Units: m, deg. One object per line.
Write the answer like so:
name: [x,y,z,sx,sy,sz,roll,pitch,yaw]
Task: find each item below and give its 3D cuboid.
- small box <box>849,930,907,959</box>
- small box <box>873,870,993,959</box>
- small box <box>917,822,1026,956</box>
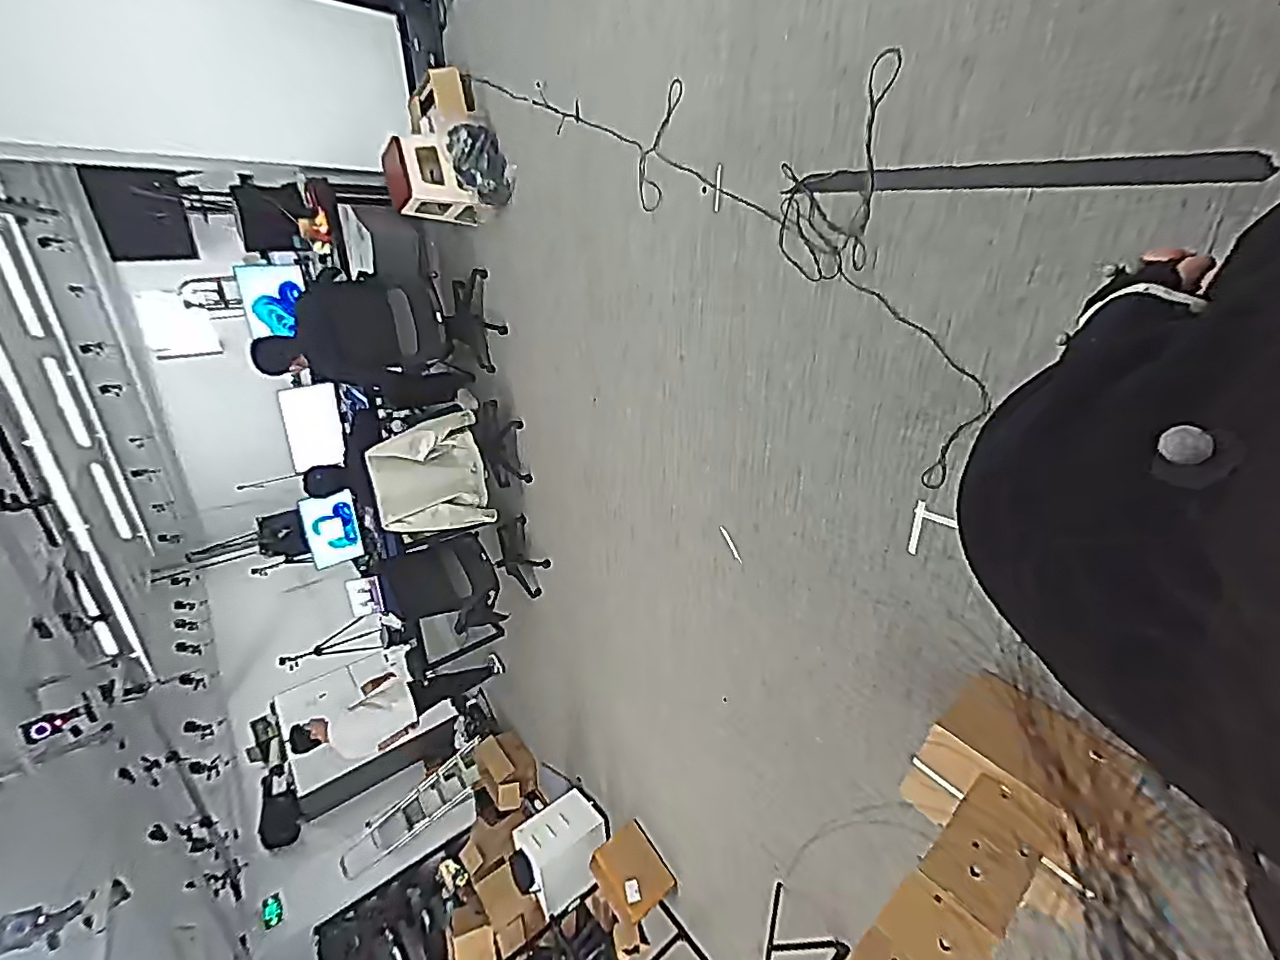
small box: [0.433,0.972,0.968,0.168,0.176,0.179,31,130,43]
small box: [0.558,0.924,1.060,0.168,0.176,0.179,30,129,42]
small box: [0.685,0.885,1.153,0.168,0.176,0.179,33,130,41]
